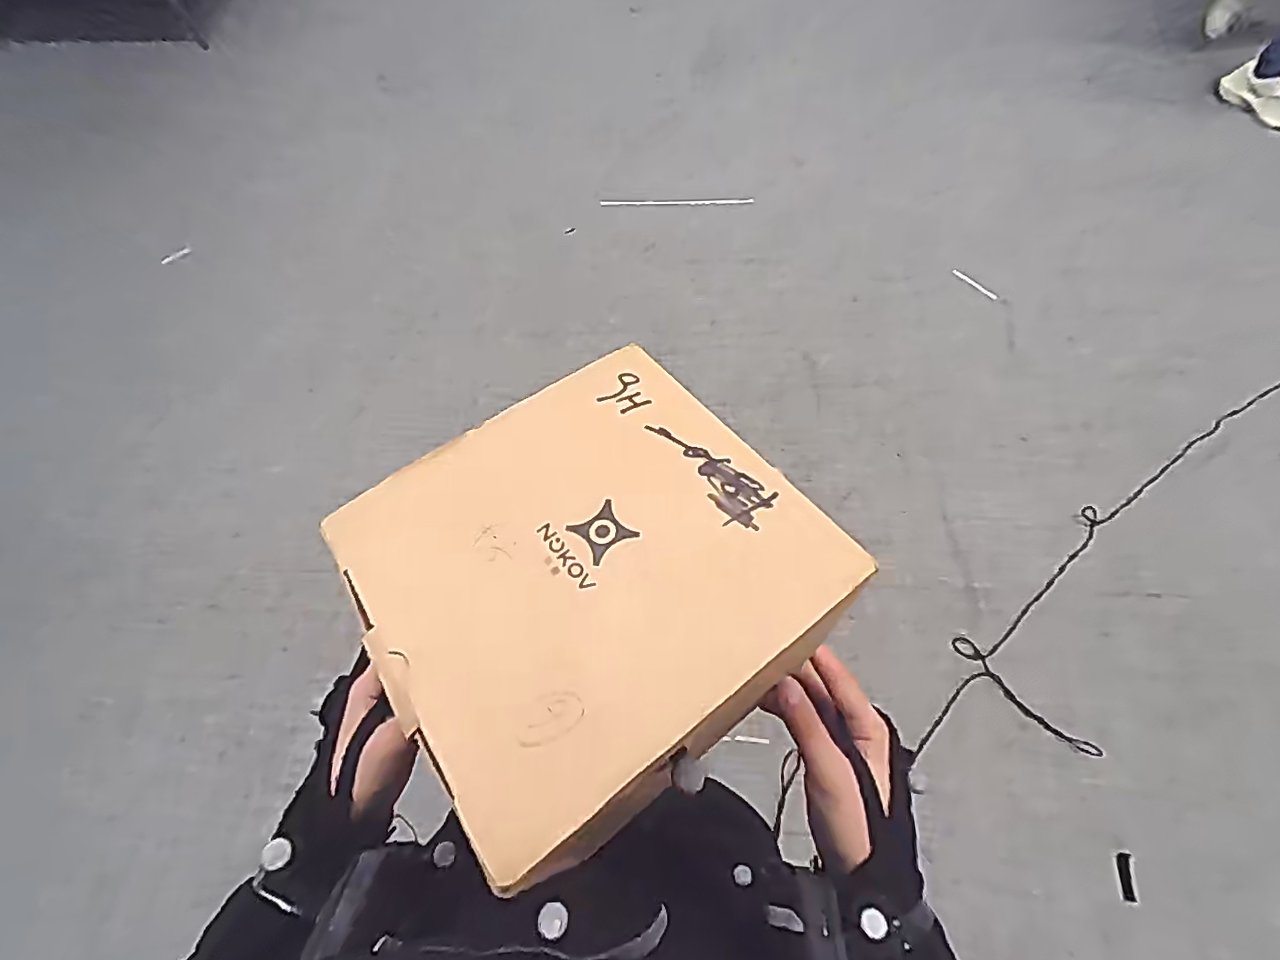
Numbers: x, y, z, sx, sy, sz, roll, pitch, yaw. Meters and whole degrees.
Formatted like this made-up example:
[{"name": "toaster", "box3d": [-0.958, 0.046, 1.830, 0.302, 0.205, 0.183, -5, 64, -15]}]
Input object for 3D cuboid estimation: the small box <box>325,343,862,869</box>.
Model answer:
[{"name": "small box", "box3d": [-0.020, 0.068, 0.294, 0.179, 0.176, 0.168, -33, 61, -16]}]
